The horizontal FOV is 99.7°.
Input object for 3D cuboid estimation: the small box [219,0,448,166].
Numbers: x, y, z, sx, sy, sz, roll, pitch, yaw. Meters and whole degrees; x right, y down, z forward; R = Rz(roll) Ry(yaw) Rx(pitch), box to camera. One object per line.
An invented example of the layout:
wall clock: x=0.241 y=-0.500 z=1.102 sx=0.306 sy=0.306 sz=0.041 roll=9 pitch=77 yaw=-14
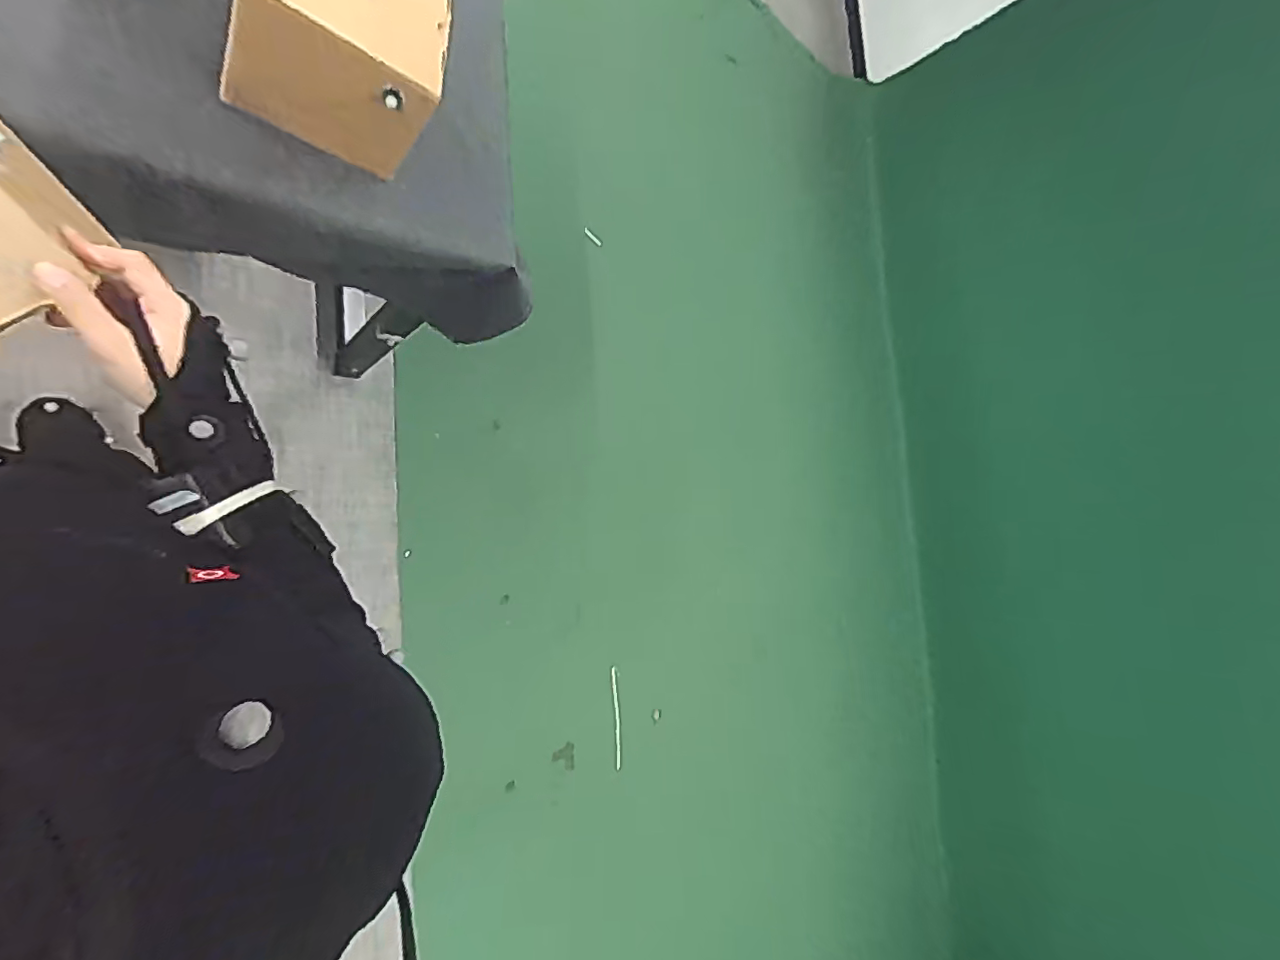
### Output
small box: x=-0.324 y=-0.479 z=0.574 sx=0.179 sy=0.176 sz=0.168 roll=9 pitch=77 yaw=-42

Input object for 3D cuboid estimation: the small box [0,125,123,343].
small box: x=-0.466 y=-0.162 z=0.318 sx=0.168 sy=0.176 sz=0.179 roll=-39 pitch=130 yaw=-17
